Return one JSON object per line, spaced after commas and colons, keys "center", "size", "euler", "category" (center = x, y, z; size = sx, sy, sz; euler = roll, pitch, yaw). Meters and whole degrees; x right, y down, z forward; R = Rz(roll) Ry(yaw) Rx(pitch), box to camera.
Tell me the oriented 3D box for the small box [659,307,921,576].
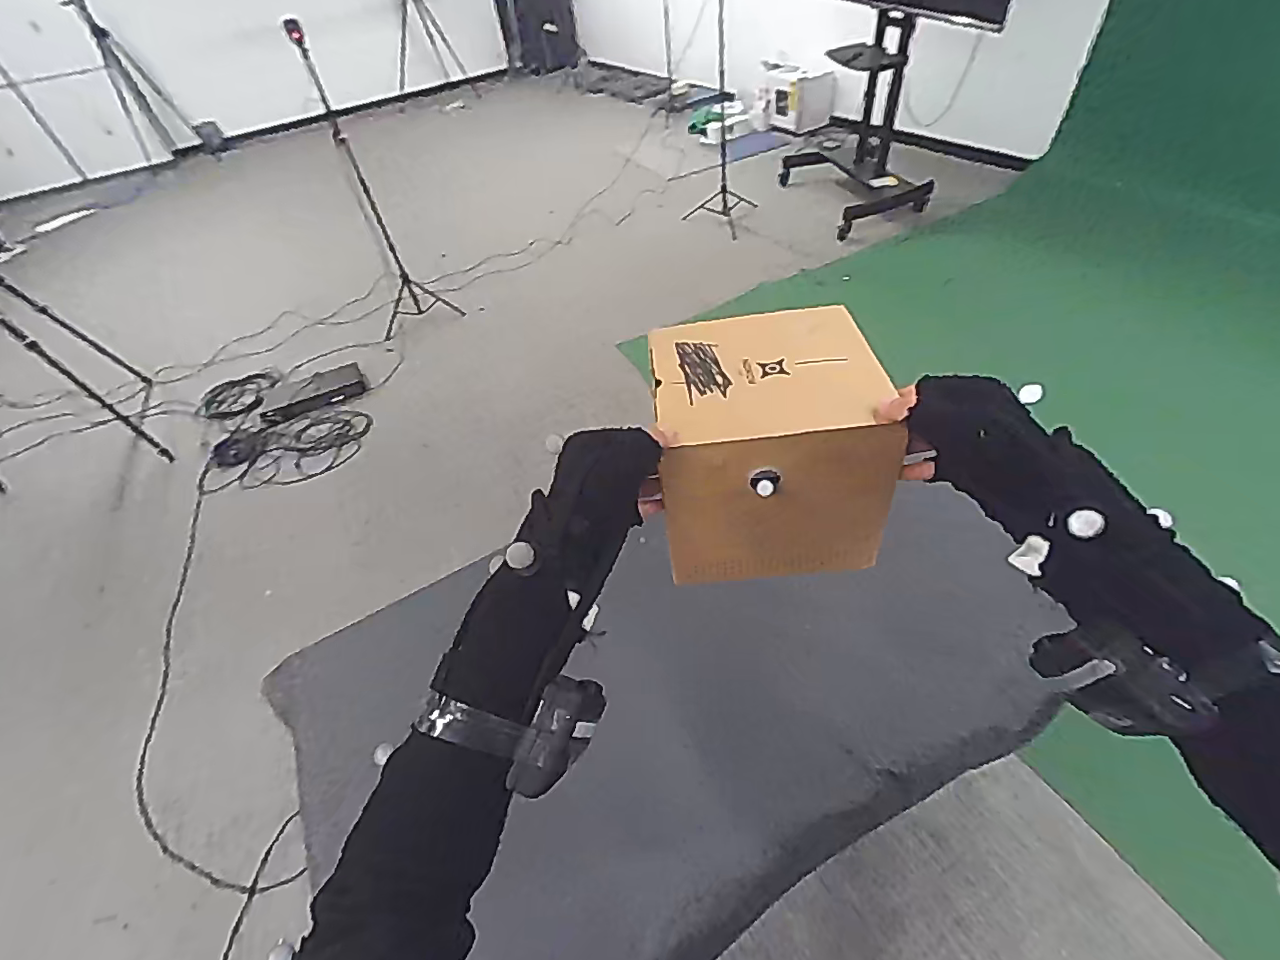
{"center": [0.114, -0.030, 0.479], "size": [0.179, 0.176, 0.168], "euler": [-5, 45, 4], "category": "small box"}
